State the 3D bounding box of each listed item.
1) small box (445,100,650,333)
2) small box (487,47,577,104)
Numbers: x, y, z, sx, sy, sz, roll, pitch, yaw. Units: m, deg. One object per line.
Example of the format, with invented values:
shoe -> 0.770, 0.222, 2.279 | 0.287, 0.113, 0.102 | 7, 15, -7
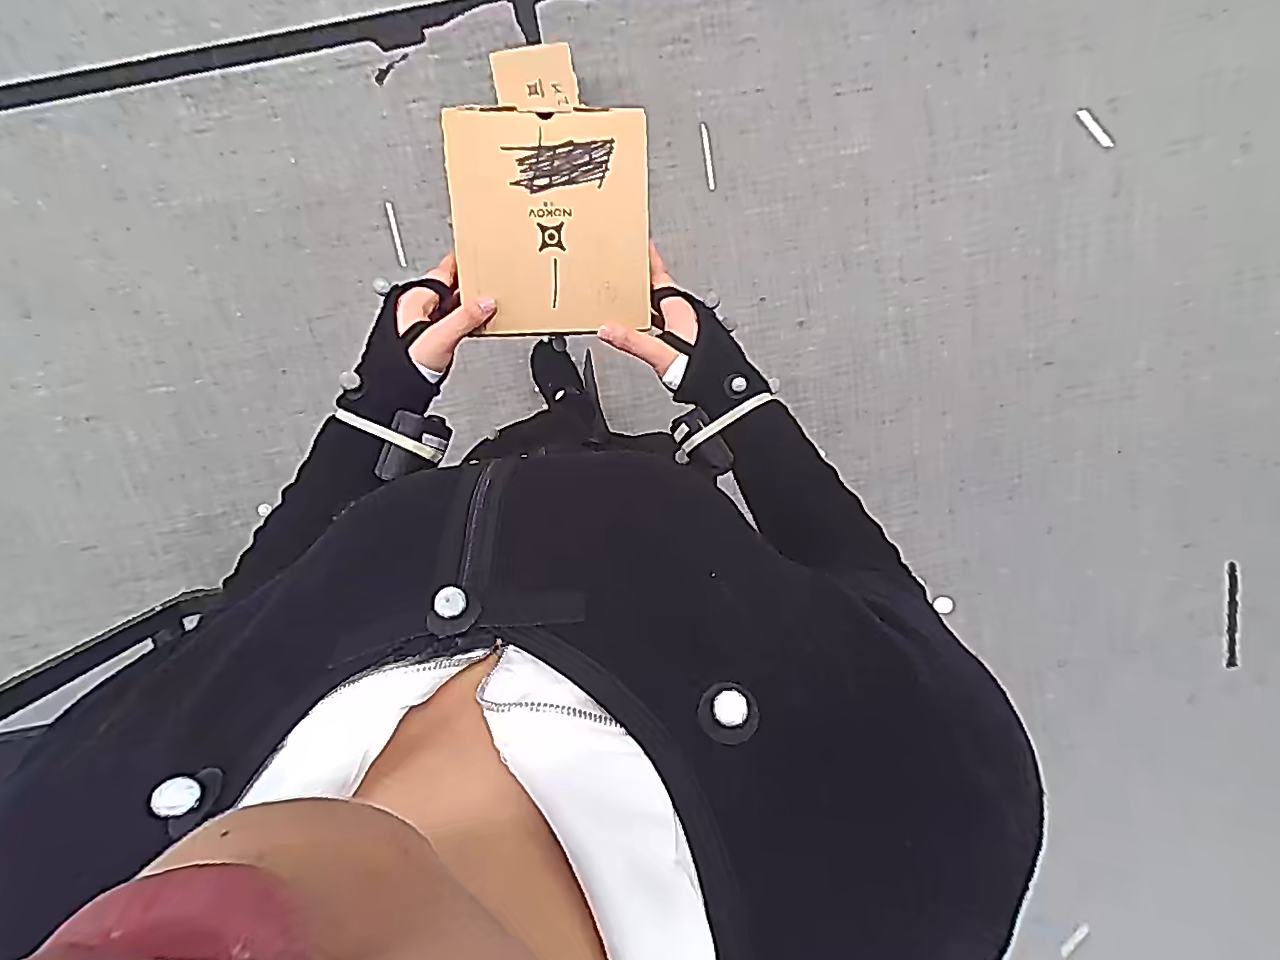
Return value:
small box -> -0.081, -0.238, 0.531 | 0.168, 0.176, 0.179 | -3, 105, -5
small box -> -0.232, -0.844, 1.239 | 0.179, 0.176, 0.168 | -11, 102, -3
